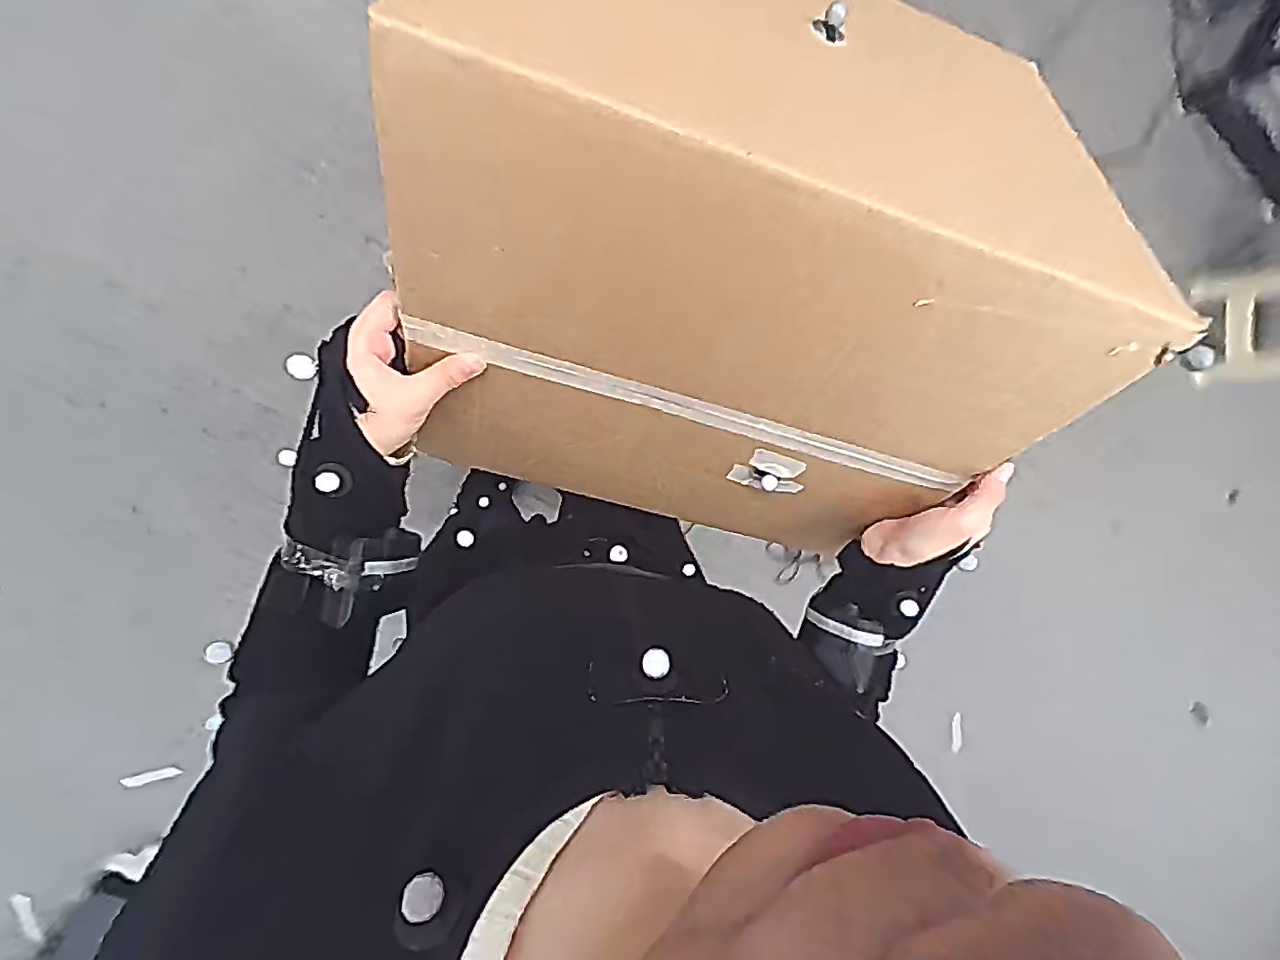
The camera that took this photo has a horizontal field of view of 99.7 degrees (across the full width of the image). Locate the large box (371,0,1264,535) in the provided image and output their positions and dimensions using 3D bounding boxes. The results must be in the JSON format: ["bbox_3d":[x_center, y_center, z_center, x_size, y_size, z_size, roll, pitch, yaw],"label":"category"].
[{"bbox_3d":[0.072,-0.189,0.419,0.408,0.320,0.320,12,59,-10],"label":"large box"}]
